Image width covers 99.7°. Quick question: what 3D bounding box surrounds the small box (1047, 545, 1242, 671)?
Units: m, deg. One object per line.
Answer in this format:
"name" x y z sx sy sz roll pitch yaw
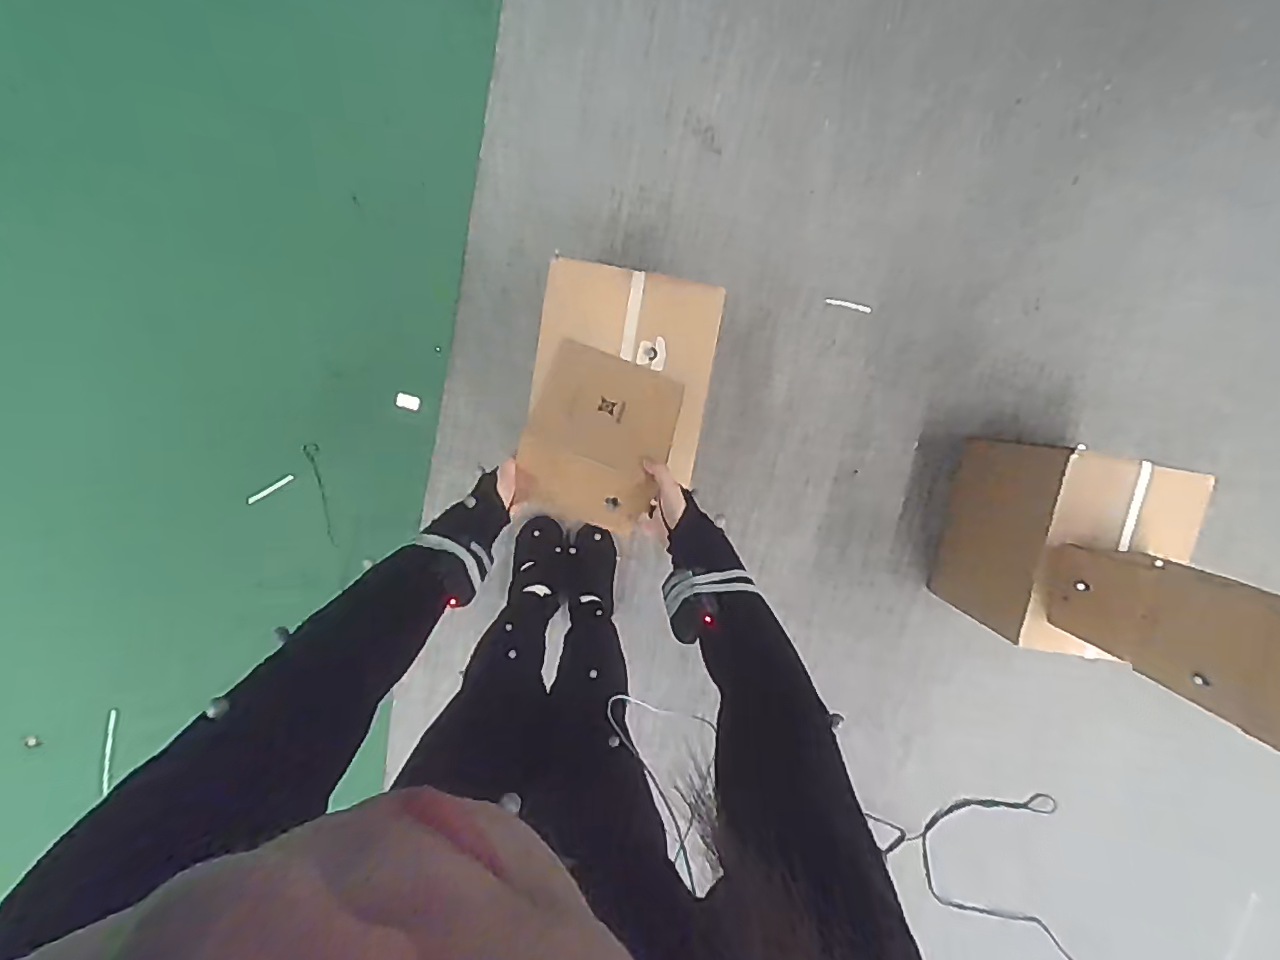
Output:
"small box" 0.911 0.226 0.993 0.179 0.176 0.168 8 99 -4

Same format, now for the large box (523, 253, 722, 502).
"large box" -0.043 -0.193 1.107 0.320 0.320 0.408 10 98 -5

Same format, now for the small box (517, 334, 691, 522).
"small box" -0.054 -0.059 0.735 0.179 0.176 0.168 20 60 -7

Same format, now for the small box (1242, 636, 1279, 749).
"small box" 0.932 0.295 0.671 0.168 0.176 0.179 11 100 -4
